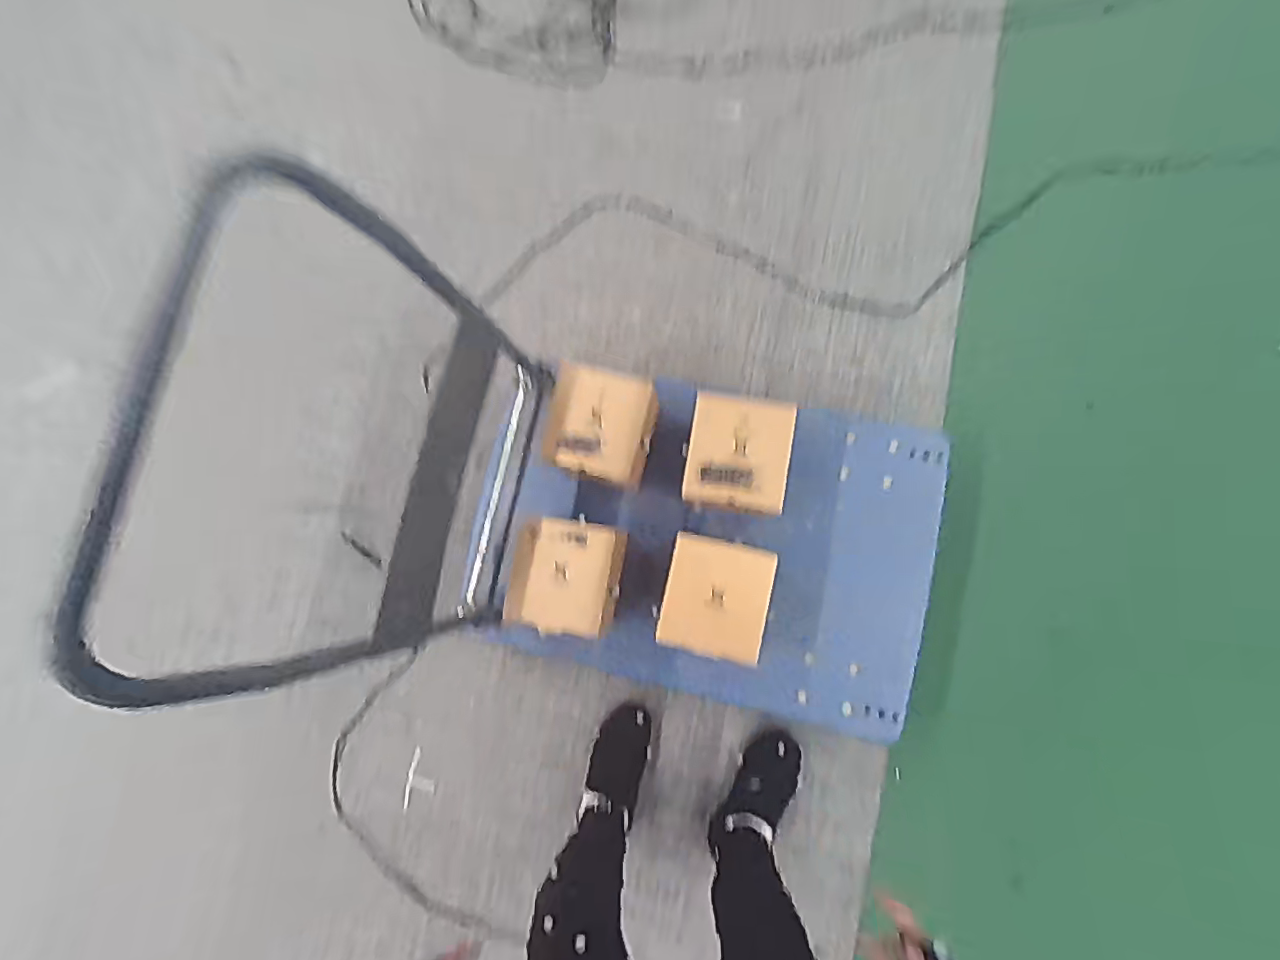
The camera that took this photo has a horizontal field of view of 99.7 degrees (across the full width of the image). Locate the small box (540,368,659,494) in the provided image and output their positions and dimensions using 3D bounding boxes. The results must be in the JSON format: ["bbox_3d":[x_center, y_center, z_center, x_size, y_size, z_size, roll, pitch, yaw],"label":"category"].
[{"bbox_3d":[-0.064,-0.081,0.997,0.168,0.176,0.179,15,84,7],"label":"small box"}]

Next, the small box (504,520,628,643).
[{"bbox_3d":[-0.123,0.174,0.968,0.168,0.176,0.179,10,84,7],"label":"small box"}]
